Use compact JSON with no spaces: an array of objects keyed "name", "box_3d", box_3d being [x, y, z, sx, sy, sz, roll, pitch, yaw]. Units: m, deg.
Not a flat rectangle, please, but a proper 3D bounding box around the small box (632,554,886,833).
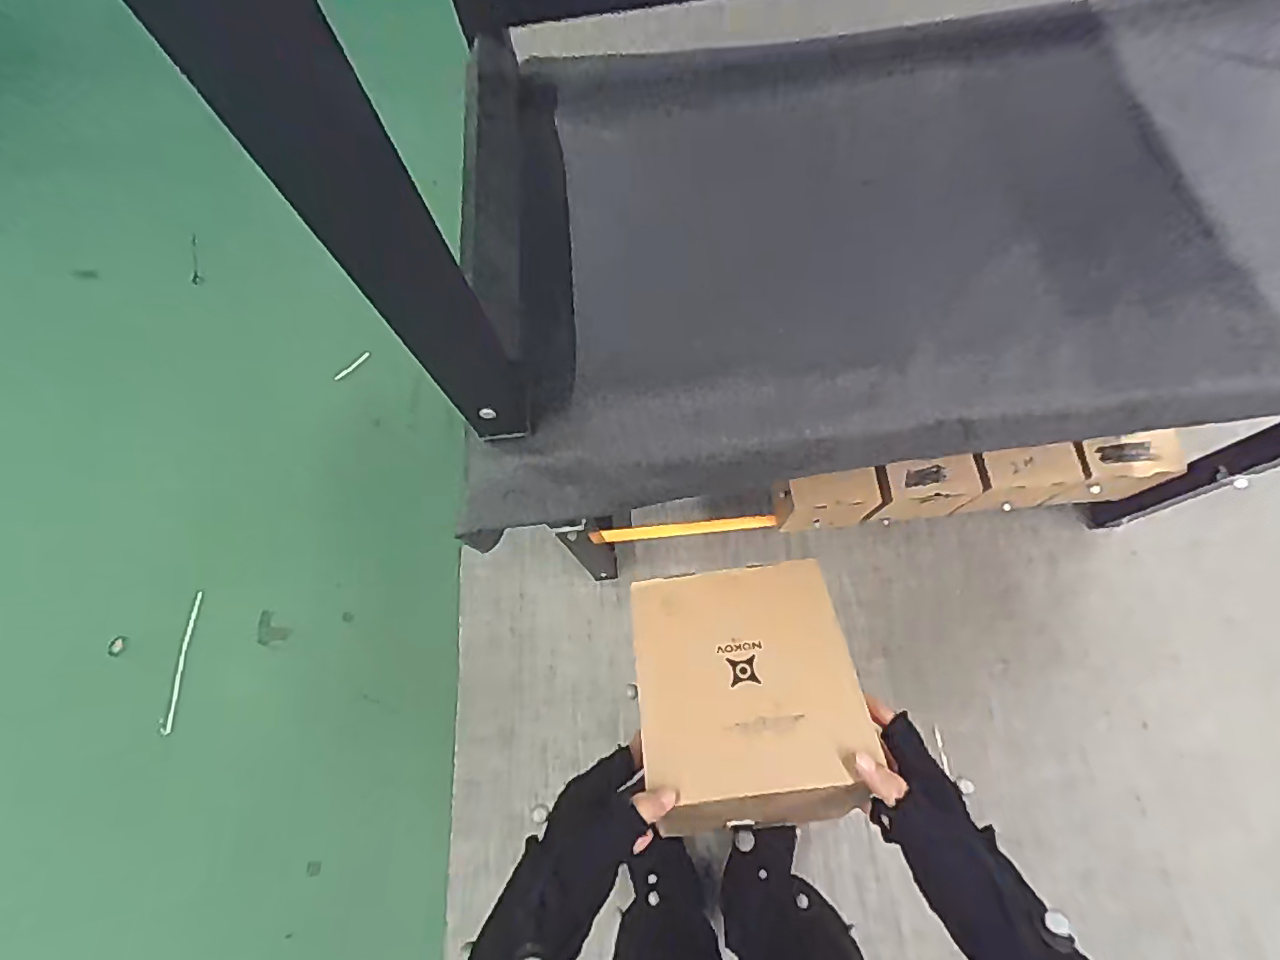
[{"name":"small box","box_3d":[0.087,0.191,0.480,0.168,0.176,0.179,-8,50,1]}]
